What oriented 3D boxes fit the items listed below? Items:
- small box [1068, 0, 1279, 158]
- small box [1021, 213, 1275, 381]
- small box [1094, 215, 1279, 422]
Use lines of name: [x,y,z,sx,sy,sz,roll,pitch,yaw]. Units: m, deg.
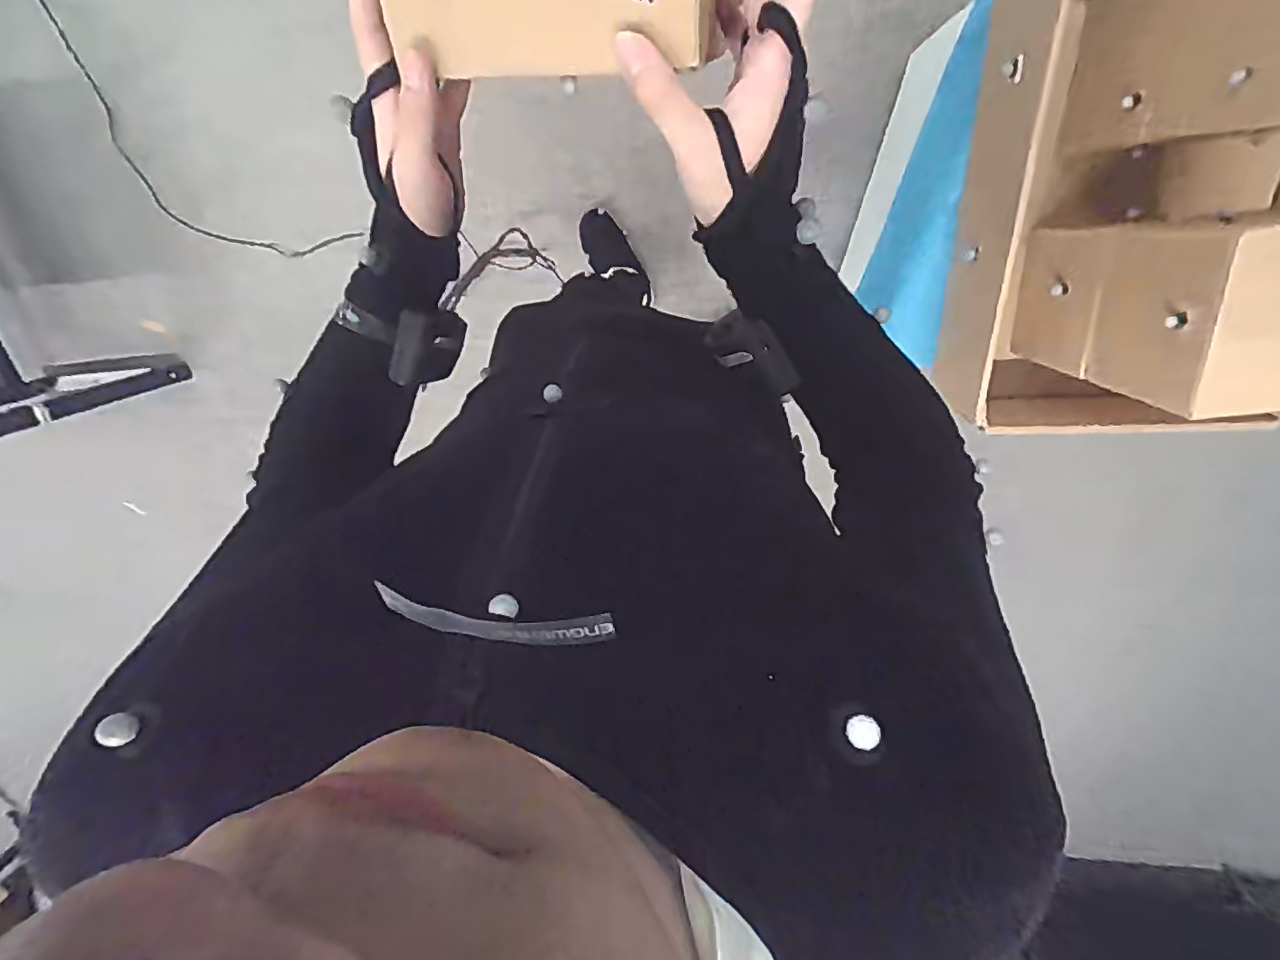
small box: [0.627,-0.473,0.601,0.168,0.176,0.179,-1,117,7]
small box: [0.636,-0.238,0.706,0.168,0.176,0.179,-4,113,8]
small box: [0.619,-0.173,0.557,0.168,0.176,0.179,-5,114,9]
